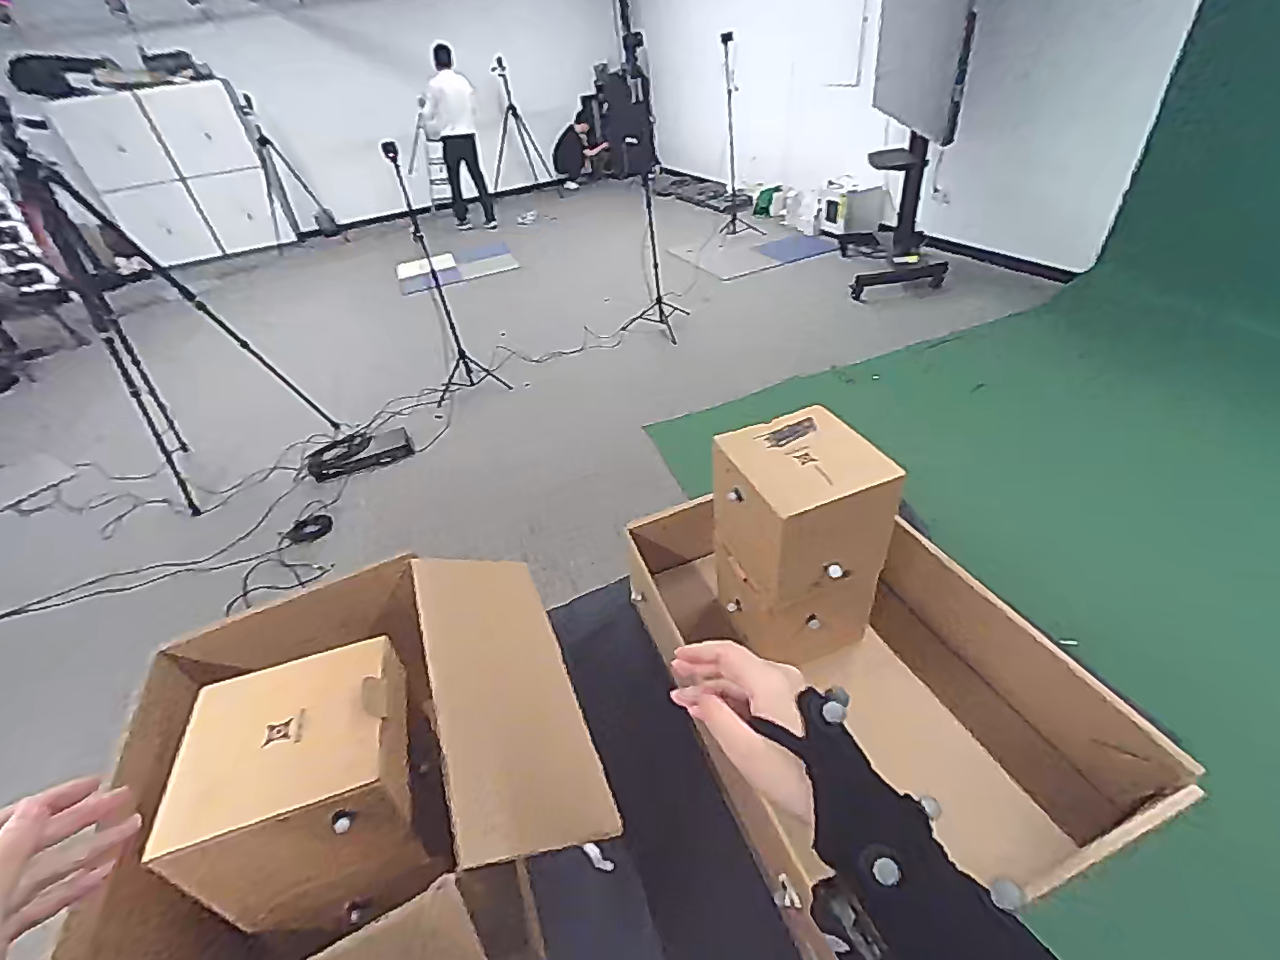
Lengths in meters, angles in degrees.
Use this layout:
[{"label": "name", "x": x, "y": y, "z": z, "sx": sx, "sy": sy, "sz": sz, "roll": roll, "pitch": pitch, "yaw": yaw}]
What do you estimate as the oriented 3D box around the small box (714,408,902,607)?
[{"label": "small box", "x": 0.208, "y": 0.034, "z": 0.720, "sx": 0.168, "sy": 0.176, "sz": 0.179, "roll": -18, "pitch": 41, "yaw": -11}]
